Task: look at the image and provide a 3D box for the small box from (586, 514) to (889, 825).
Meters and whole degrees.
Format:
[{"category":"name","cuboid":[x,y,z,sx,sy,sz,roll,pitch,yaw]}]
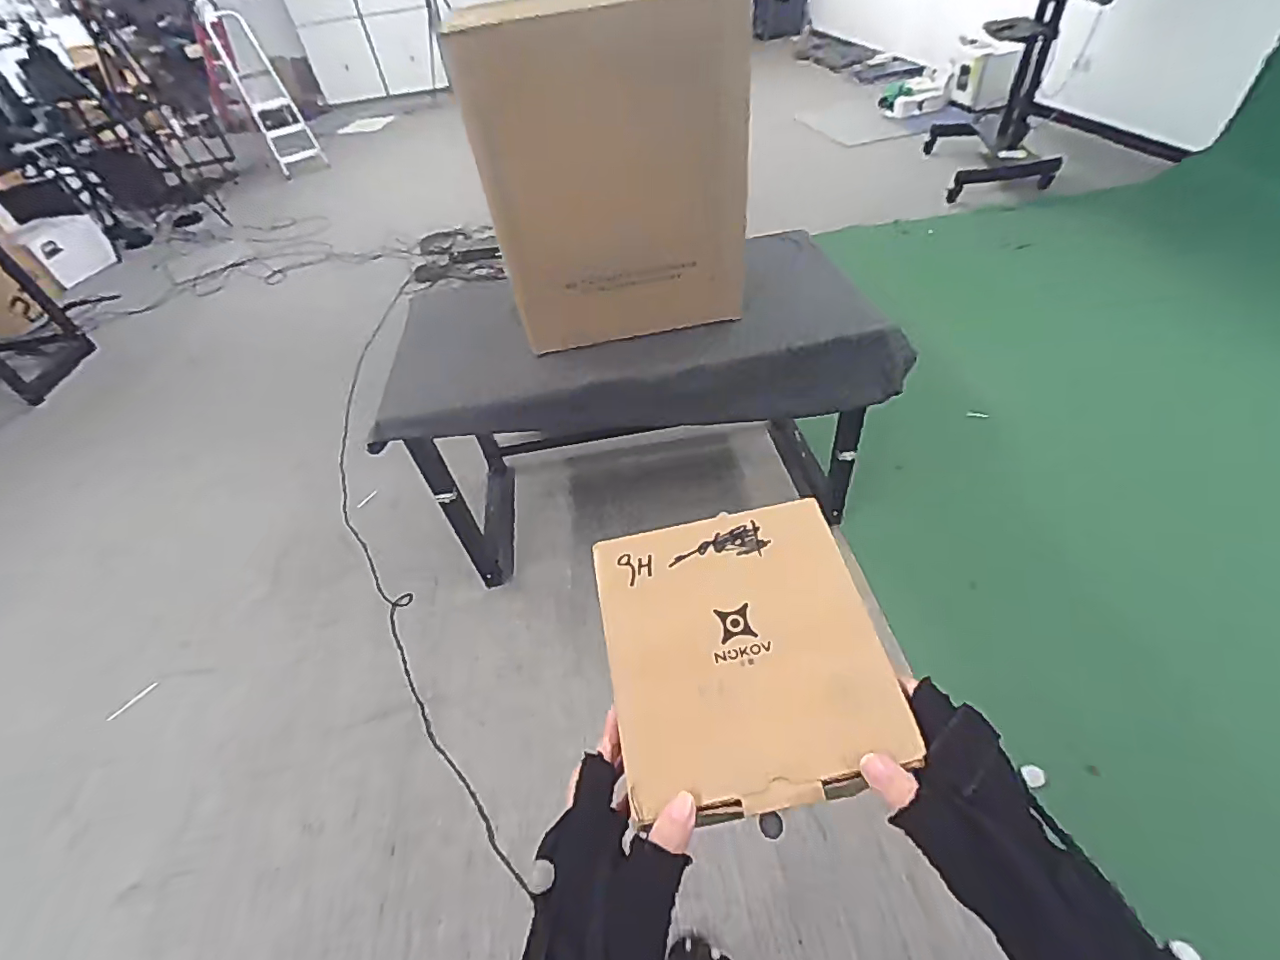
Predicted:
[{"category":"small box","cuboid":[0.065,0.157,0.432,0.168,0.176,0.179,-14,55,-2]}]
